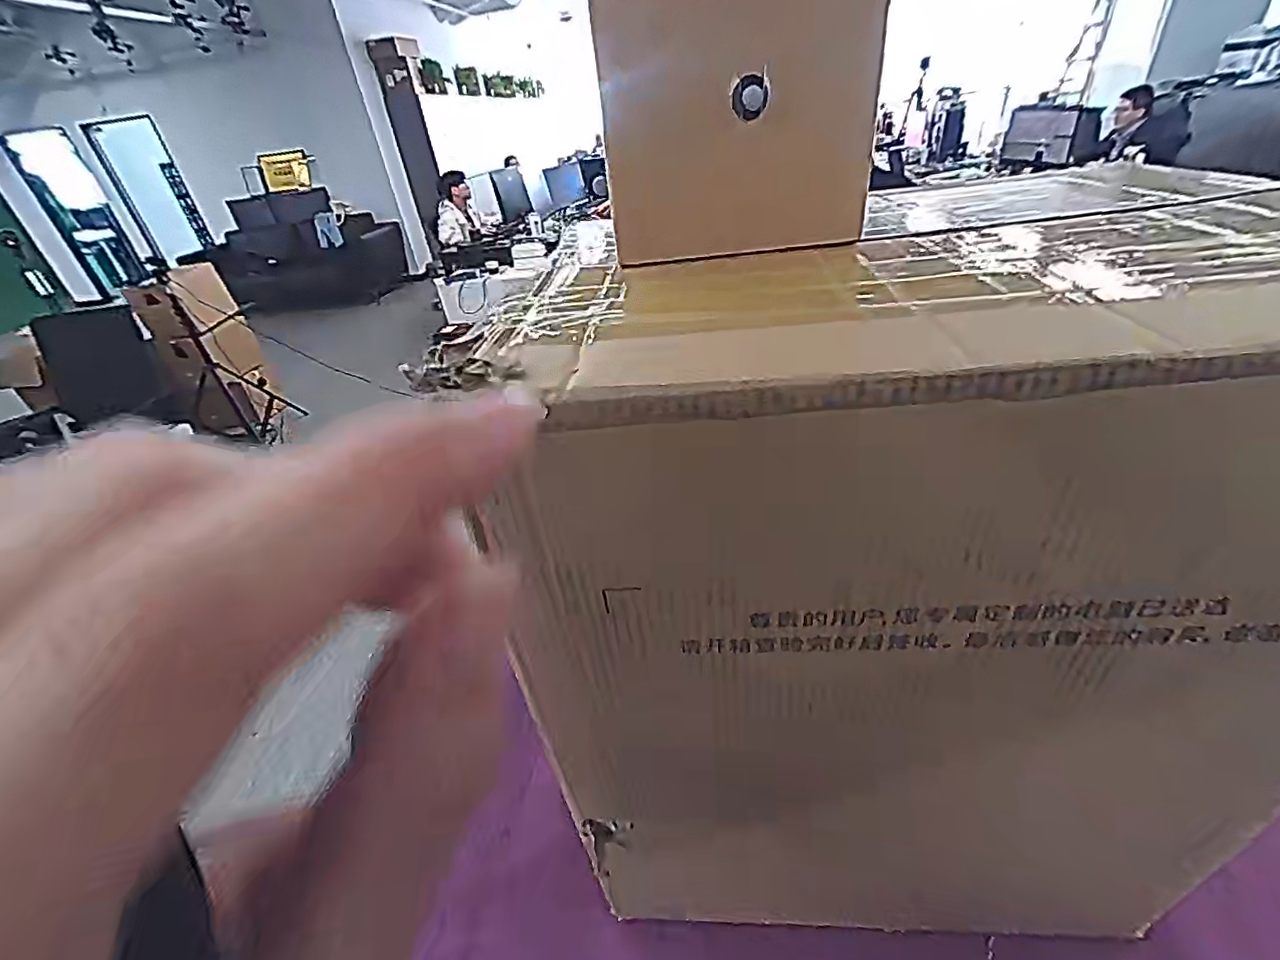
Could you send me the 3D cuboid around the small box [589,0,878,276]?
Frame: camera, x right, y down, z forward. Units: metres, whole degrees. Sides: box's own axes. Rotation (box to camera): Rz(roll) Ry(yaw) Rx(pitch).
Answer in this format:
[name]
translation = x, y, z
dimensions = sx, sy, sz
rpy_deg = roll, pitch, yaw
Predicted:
[small box]
translation = 0.058, -0.264, 0.394
dimensions = 0.168, 0.176, 0.179
rpy_deg = -4, 35, 2
